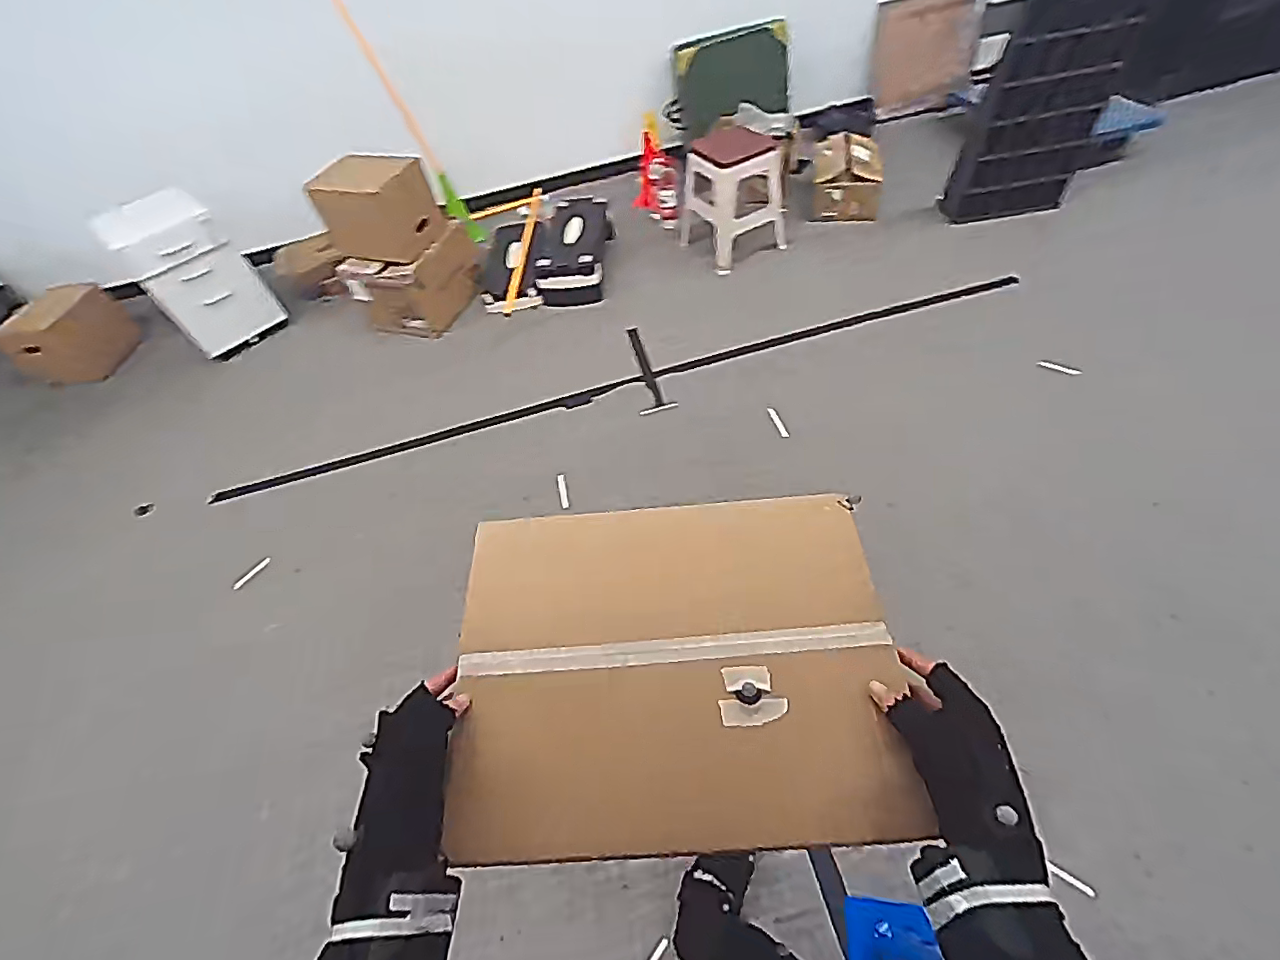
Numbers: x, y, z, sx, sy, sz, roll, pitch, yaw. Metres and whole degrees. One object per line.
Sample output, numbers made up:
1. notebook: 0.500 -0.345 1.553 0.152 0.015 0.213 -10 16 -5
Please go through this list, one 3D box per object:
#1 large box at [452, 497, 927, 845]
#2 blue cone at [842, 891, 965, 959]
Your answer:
1. large box: 0.042 0.243 0.649 0.408 0.320 0.320 -4 56 3
2. blue cone: 0.480 0.824 0.924 0.193 0.380 0.192 2 52 11
